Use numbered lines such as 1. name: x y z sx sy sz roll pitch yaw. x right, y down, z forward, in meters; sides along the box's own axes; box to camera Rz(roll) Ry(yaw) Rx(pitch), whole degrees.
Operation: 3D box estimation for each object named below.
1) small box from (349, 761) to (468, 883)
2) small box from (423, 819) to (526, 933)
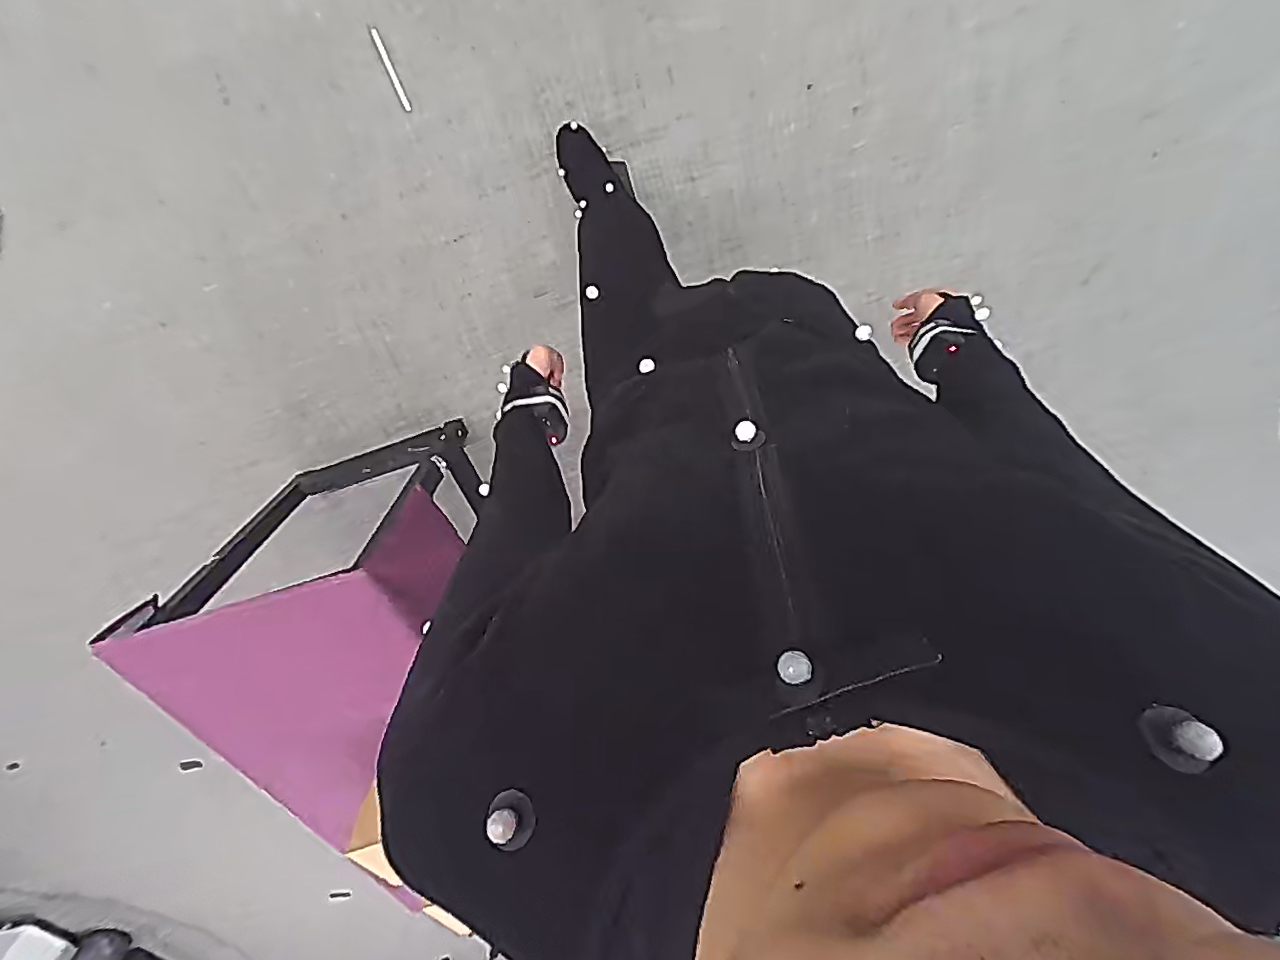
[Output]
1. small box: -0.519 0.785 1.248 0.179 0.176 0.168 -25 118 13
2. small box: -0.412 1.009 1.383 0.179 0.176 0.168 -24 119 11
